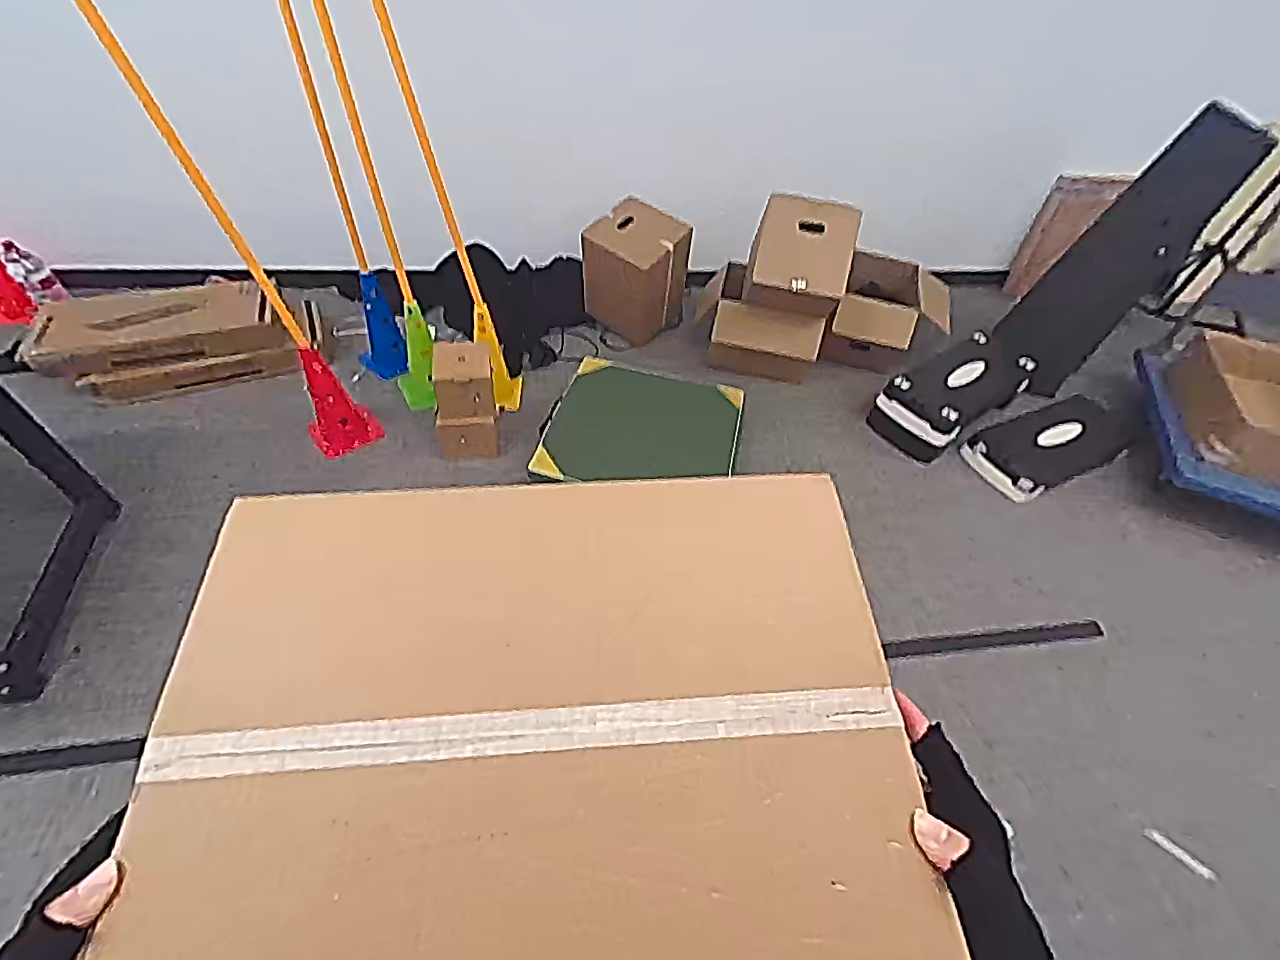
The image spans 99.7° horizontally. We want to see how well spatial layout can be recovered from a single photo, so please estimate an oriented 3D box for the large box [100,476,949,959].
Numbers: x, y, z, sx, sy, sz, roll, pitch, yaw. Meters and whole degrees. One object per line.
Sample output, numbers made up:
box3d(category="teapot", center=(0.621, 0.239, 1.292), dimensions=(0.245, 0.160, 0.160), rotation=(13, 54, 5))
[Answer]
box3d(category="large box", center=(-0.064, 0.215, 0.436), dimensions=(0.408, 0.320, 0.320), rotation=(-3, 60, -3))
